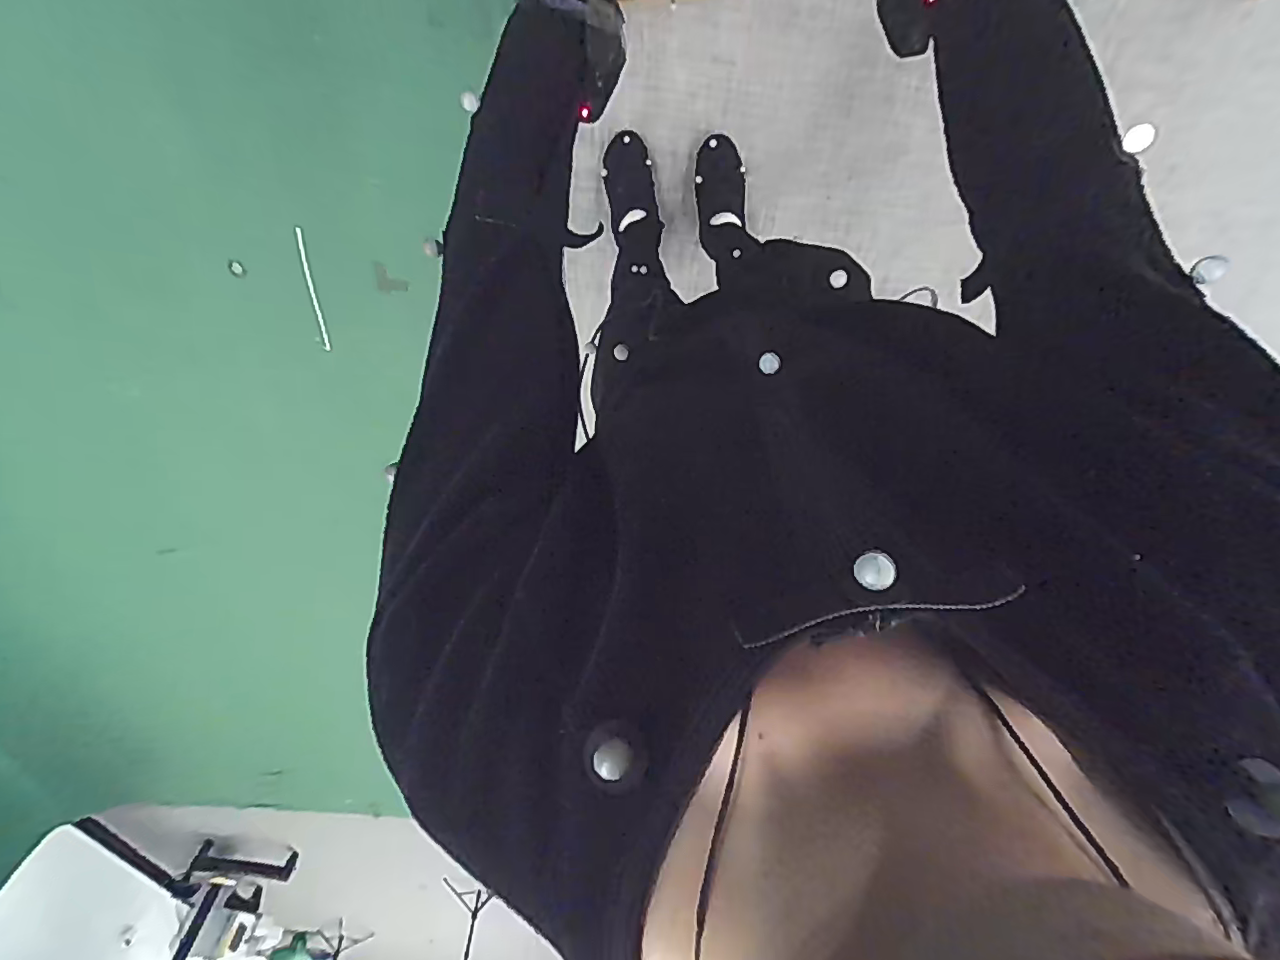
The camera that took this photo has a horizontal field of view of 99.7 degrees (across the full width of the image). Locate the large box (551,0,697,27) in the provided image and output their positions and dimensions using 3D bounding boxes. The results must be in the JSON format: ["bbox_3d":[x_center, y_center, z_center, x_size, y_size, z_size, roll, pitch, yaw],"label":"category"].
[{"bbox_3d":[0.044,-0.953,0.847,0.408,0.320,0.320,-6,126,8],"label":"large box"}]
